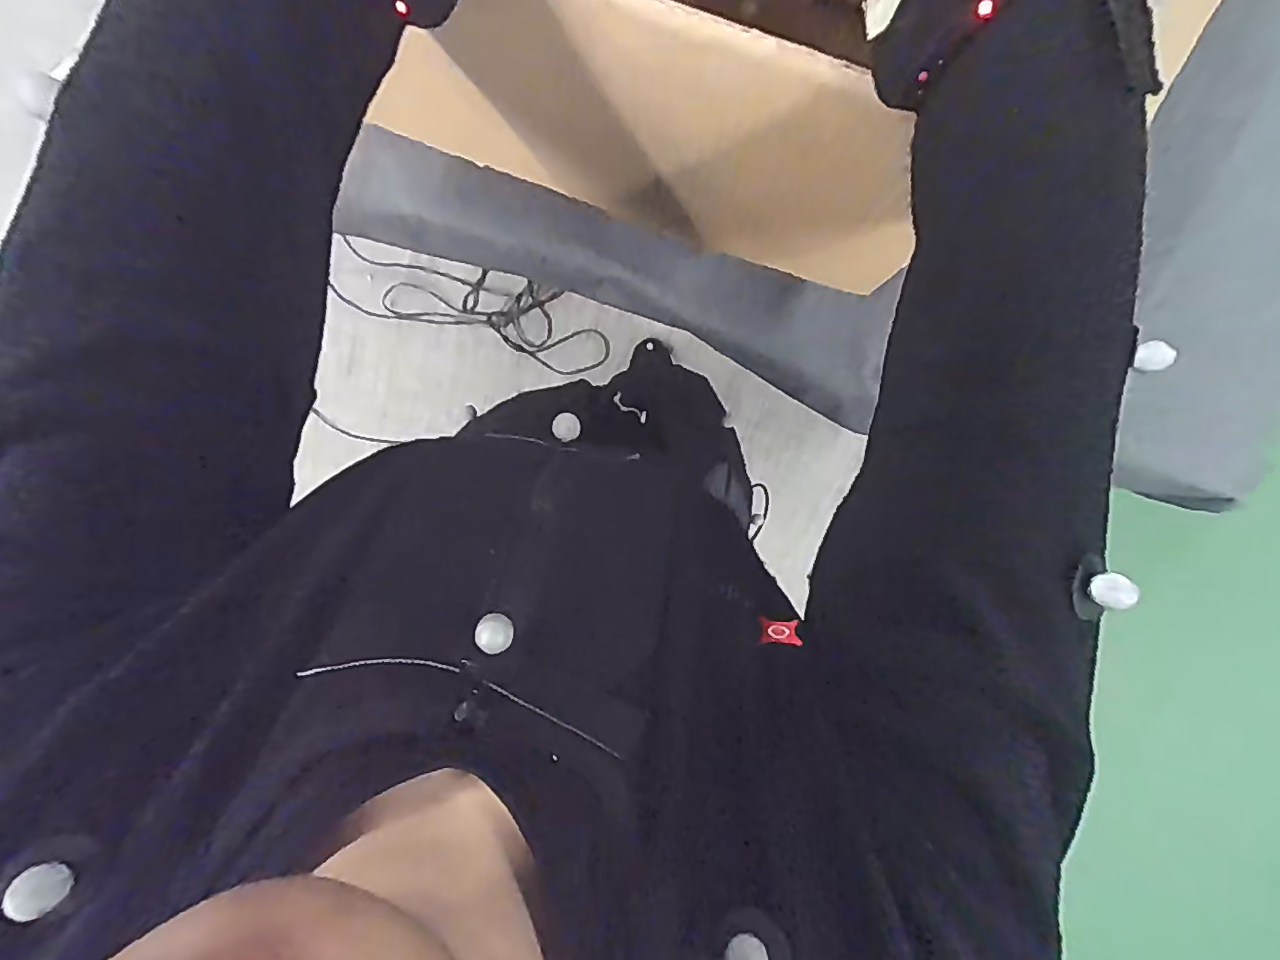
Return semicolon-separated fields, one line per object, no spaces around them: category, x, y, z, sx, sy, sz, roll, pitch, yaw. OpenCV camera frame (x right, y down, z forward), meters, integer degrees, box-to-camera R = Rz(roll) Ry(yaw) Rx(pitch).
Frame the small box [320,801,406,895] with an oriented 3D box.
small box;-0.890;1.179;1.746;0.179;0.176;0.168;19;108;-2
